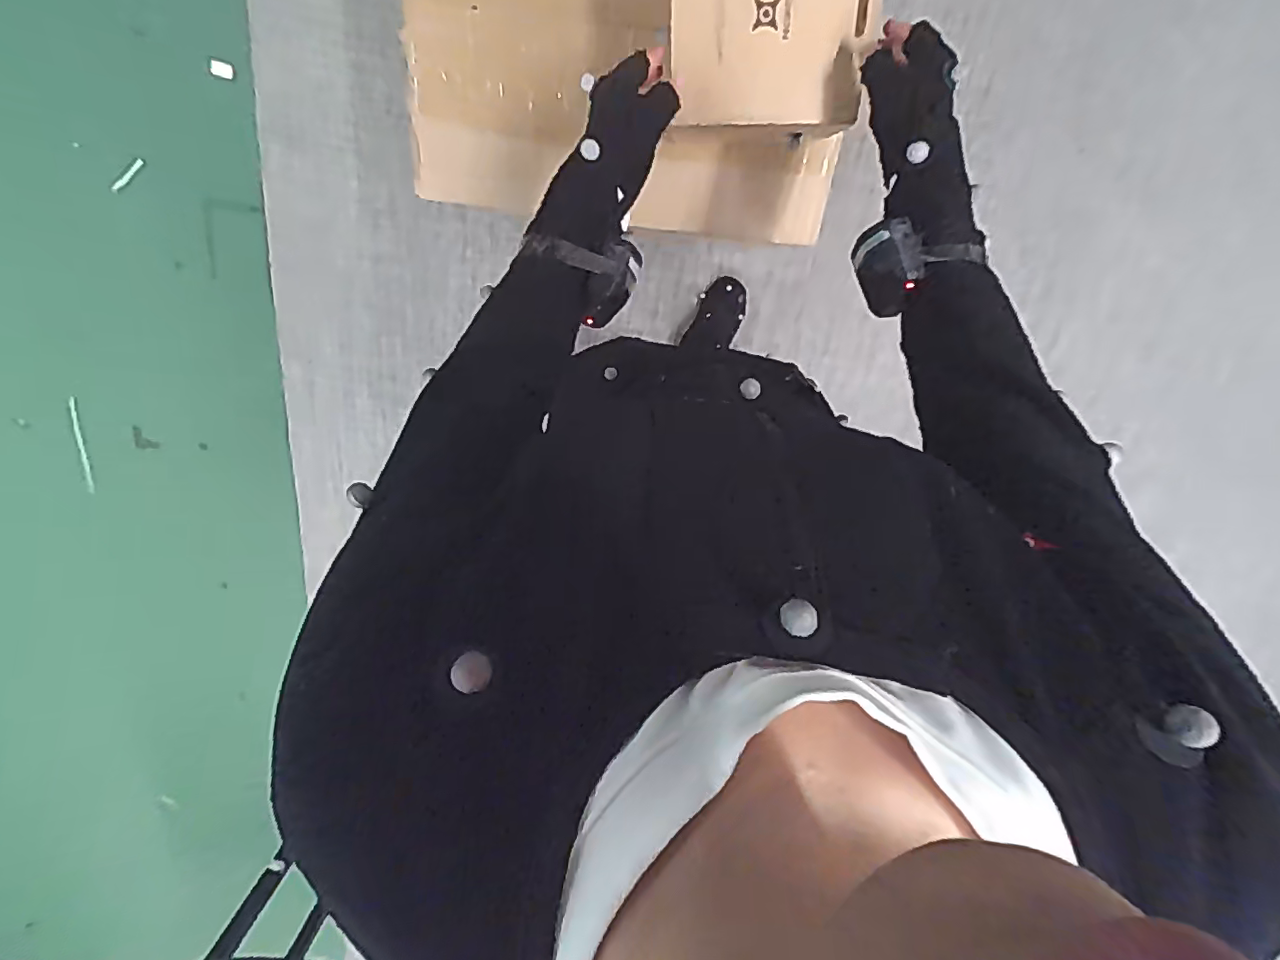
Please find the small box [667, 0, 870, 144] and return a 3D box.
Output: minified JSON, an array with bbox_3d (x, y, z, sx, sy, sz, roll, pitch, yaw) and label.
[{"bbox_3d":[0.119,-0.445,0.545,0.179,0.176,0.168,2,116,6],"label":"small box"}]
